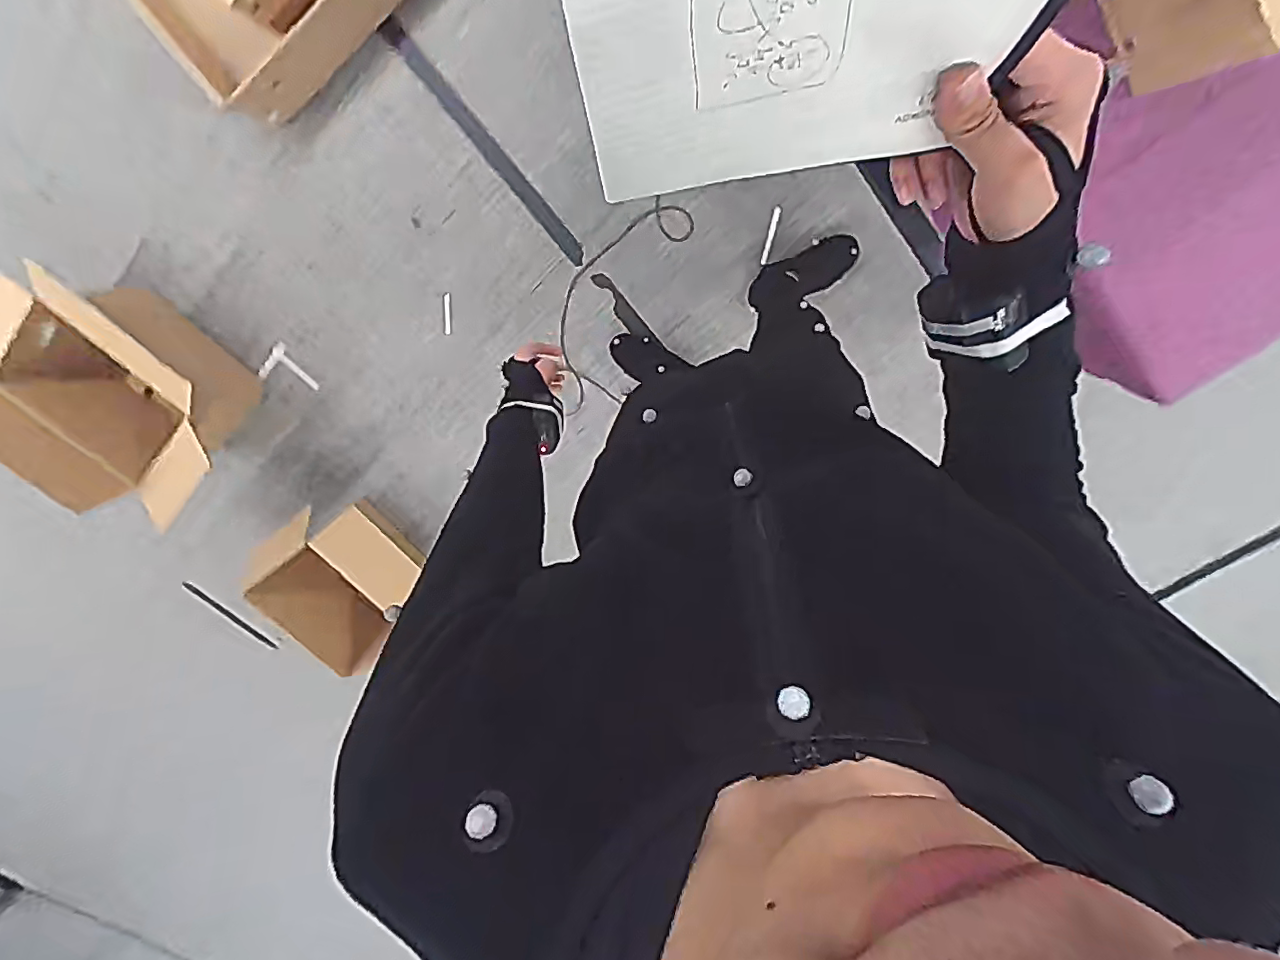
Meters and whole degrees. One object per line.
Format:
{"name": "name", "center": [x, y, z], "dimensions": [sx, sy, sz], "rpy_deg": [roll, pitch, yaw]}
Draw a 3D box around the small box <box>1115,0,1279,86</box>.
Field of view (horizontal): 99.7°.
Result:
{"name": "small box", "center": [0.619, -0.540, 0.533], "dimensions": [0.179, 0.176, 0.168], "rpy_deg": [-35, 108, 16]}
